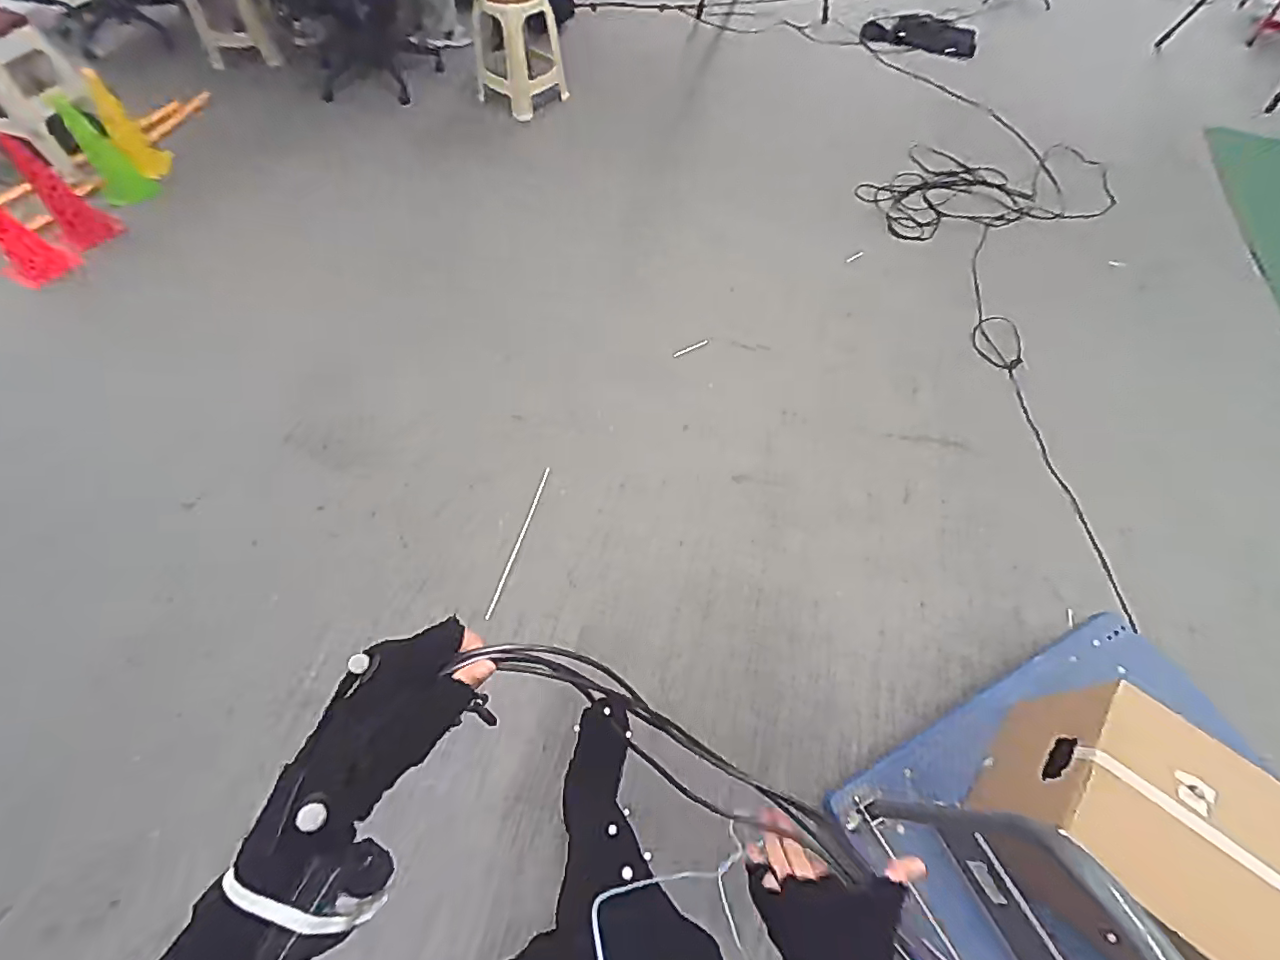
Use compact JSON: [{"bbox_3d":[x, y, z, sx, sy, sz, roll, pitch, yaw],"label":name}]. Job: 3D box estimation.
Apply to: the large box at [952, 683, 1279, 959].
[{"bbox_3d":[0.869,0.634,0.948,0.408,0.320,0.320,37,65,19],"label":"large box"}]
